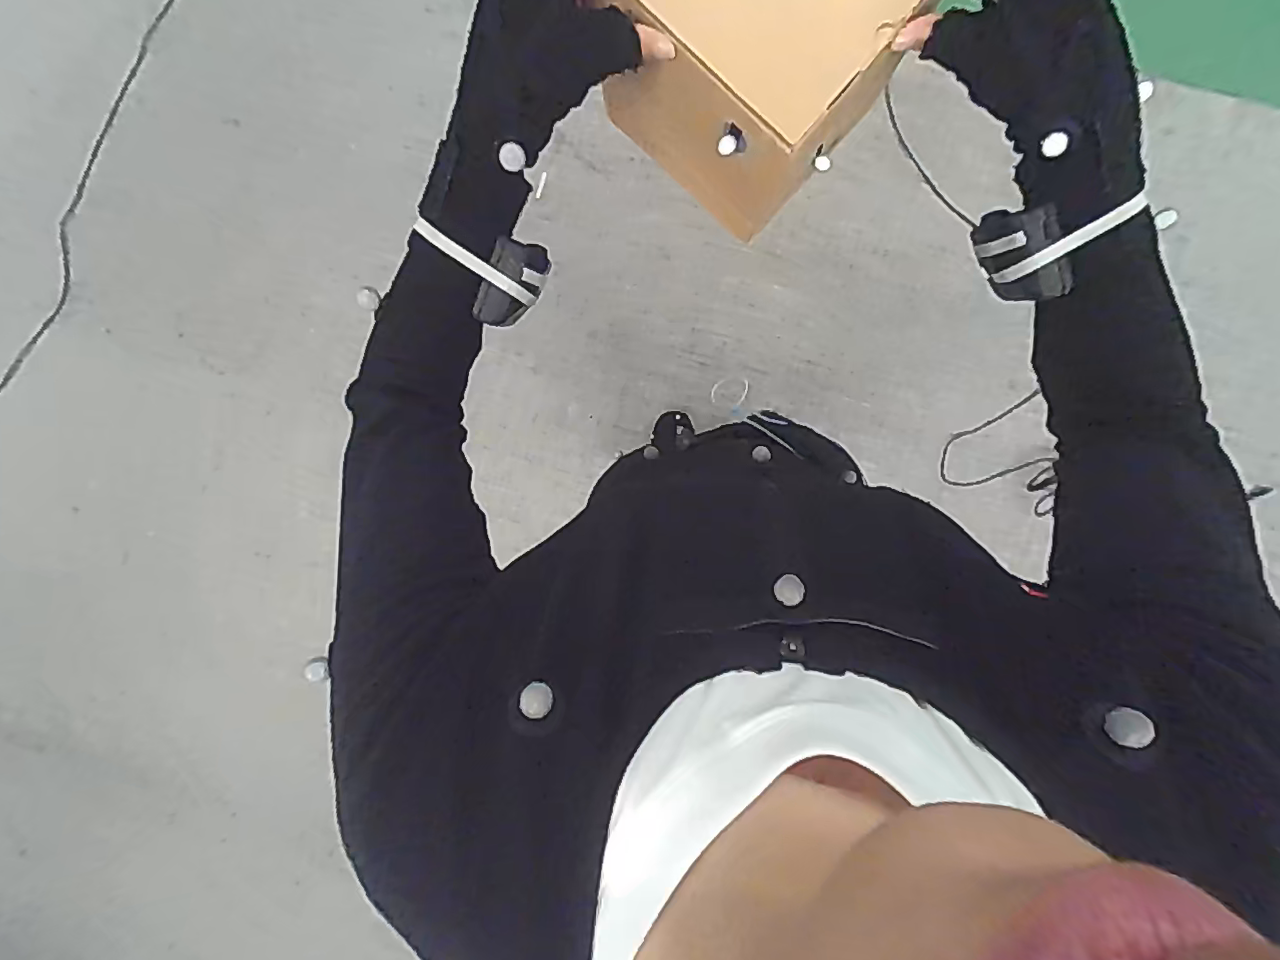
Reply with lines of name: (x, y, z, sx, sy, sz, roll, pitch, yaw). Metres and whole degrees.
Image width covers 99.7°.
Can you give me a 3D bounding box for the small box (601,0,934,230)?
small box: (0.082, -0.328, 0.405, 0.179, 0.176, 0.168, 42, 94, -4)
